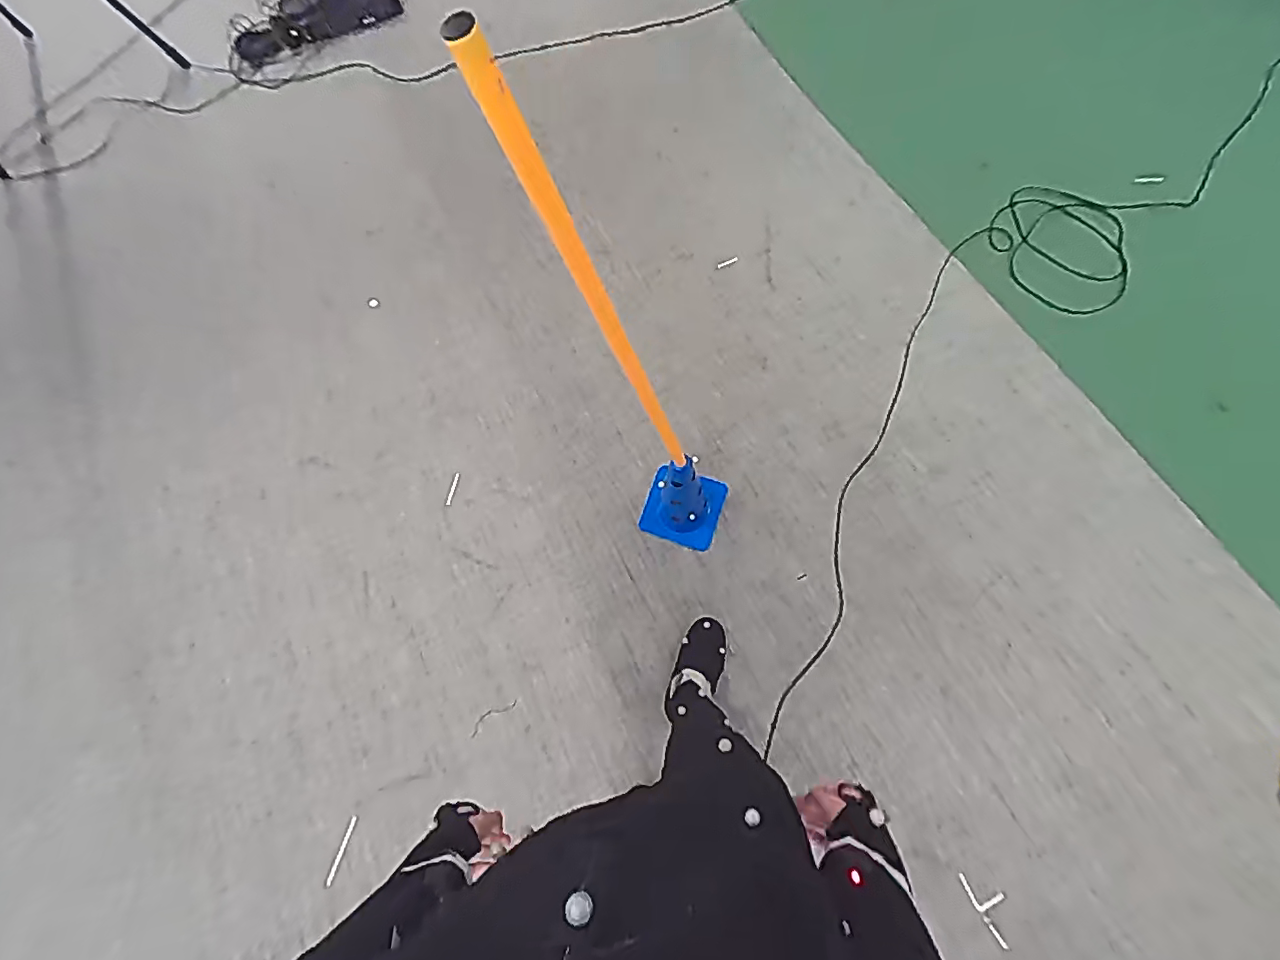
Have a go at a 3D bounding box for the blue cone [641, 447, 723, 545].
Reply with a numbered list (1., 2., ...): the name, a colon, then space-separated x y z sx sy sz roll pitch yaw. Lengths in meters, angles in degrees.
1. blue cone: 0.093 0.017 1.264 0.193 0.380 0.192 16 75 11
